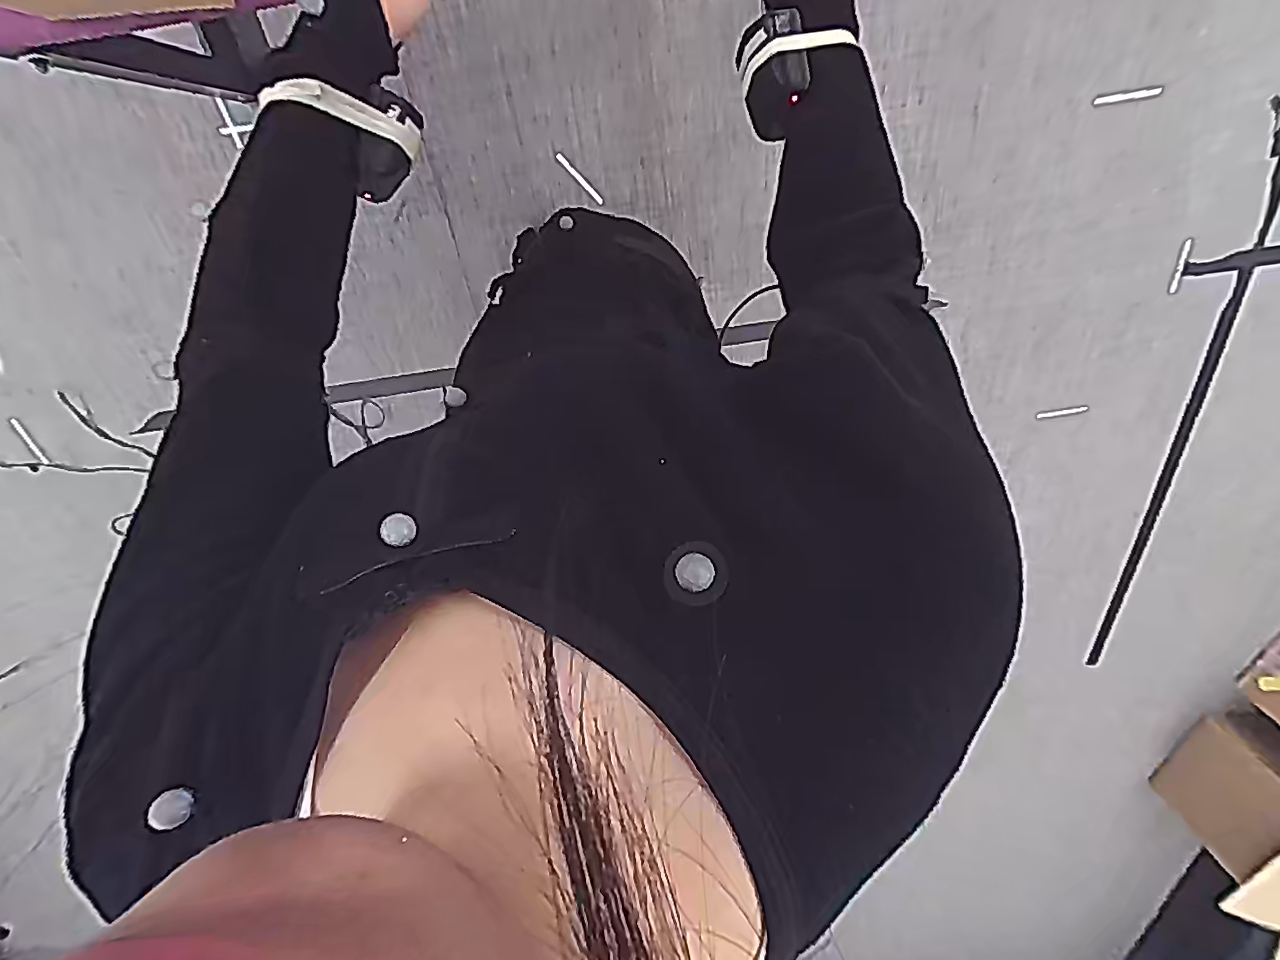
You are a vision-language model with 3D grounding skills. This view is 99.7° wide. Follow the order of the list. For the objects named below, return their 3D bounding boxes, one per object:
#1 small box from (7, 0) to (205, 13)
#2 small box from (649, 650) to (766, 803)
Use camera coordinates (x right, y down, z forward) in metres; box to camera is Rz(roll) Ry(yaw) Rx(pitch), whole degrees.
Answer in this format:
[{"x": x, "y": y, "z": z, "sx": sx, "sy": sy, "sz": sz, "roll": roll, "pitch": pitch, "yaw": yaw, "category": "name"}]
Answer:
[{"x": -0.467, "y": -0.473, "z": 0.399, "sx": 0.179, "sy": 0.176, "sz": 0.168, "roll": -5, "pitch": 120, "yaw": -2, "category": "small box"}, {"x": 0.112, "y": 0.410, "z": 0.926, "sx": 0.168, "sy": 0.176, "sz": 0.179, "roll": -9, "pitch": 121, "yaw": 1, "category": "small box"}]
